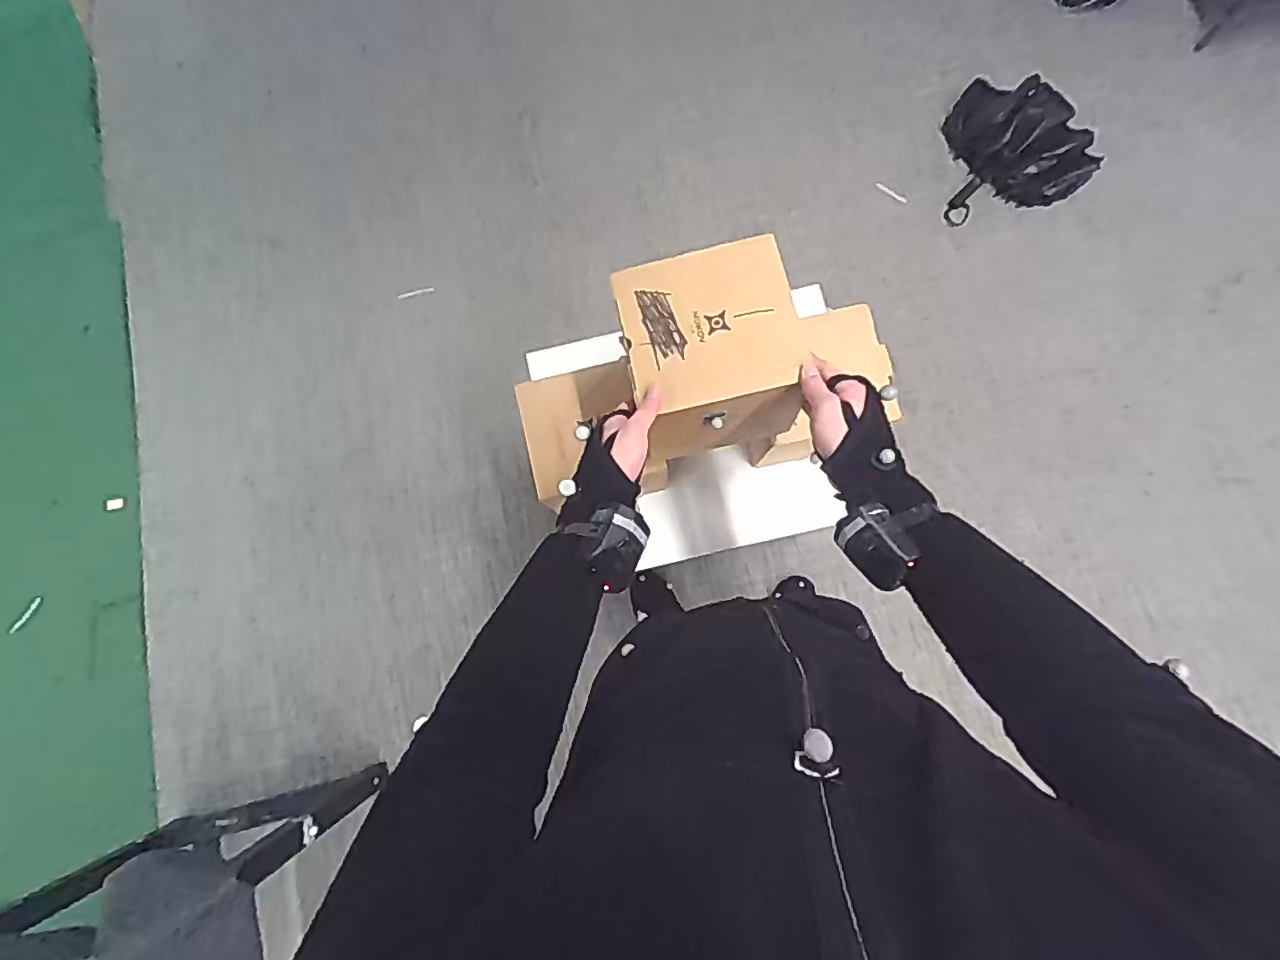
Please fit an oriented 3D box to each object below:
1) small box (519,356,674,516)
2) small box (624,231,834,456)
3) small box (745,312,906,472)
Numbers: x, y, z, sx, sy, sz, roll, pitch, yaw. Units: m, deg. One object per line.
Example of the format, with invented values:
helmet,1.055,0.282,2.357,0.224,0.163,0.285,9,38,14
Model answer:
small box,-0.059,-0.054,0.778,0.179,0.176,0.168,-14,78,-3
small box,0.089,-0.138,0.604,0.179,0.176,0.168,-12,75,0
small box,0.247,-0.119,0.789,0.179,0.176,0.168,-12,79,-1
